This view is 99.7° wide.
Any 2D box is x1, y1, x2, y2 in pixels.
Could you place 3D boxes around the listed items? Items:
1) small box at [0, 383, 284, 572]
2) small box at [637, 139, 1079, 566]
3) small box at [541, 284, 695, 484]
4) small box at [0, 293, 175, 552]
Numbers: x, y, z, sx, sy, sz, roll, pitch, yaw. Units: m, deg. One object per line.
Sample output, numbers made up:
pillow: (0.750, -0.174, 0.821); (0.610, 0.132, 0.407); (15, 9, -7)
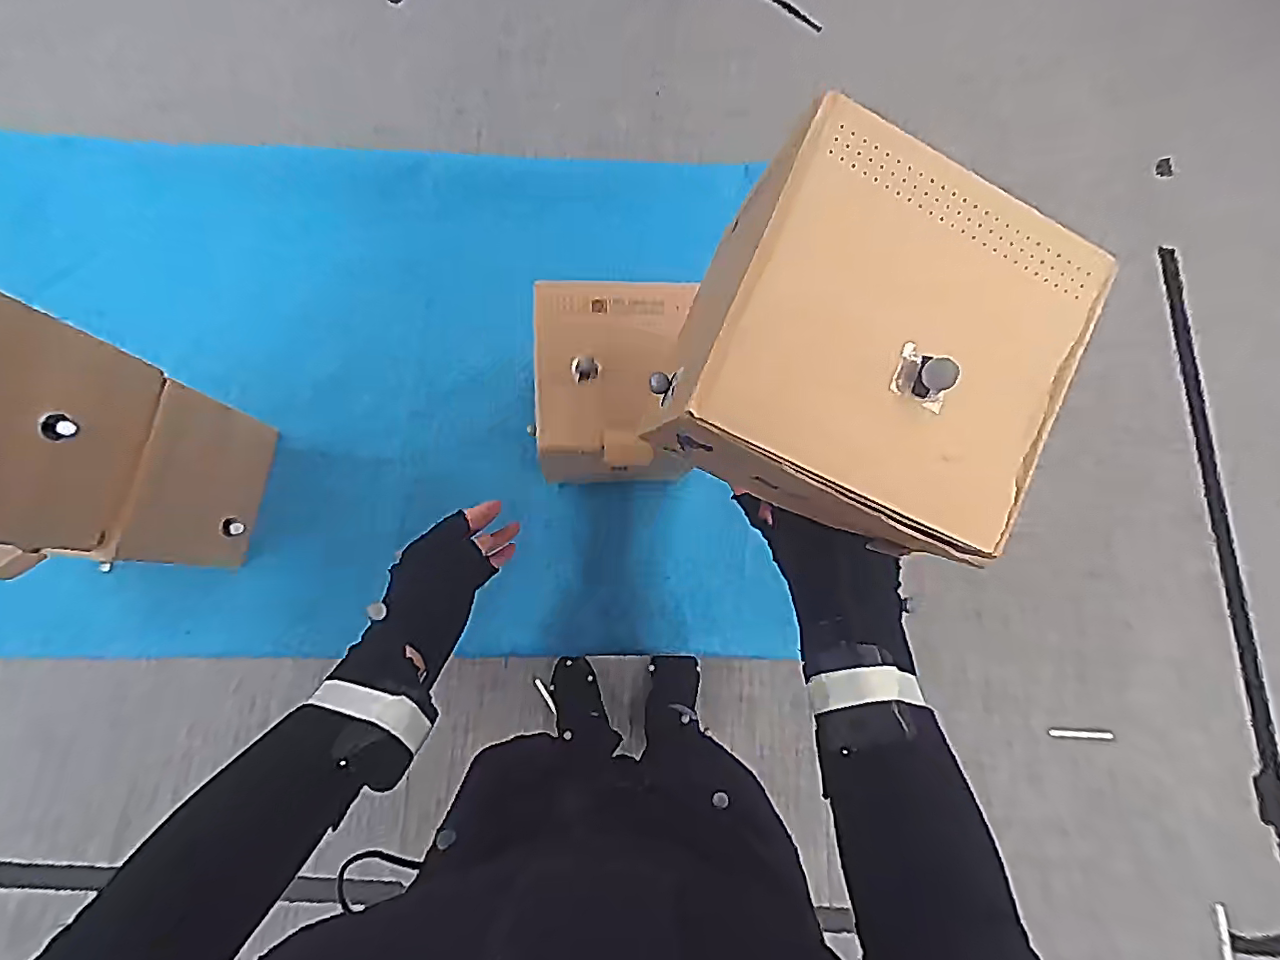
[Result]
small box: (-0.531, -0.002, 0.577); (0.168, 0.176, 0.179); (7, 78, 0)
small box: (0.119, -0.067, 0.344); (0.179, 0.168, 0.176); (24, 87, -8)
small box: (-0.024, -0.096, 0.595); (0.168, 0.179, 0.176); (0, 78, -9)
small box: (-0.534, -0.049, 0.419); (0.168, 0.176, 0.179); (11, 79, 1)
